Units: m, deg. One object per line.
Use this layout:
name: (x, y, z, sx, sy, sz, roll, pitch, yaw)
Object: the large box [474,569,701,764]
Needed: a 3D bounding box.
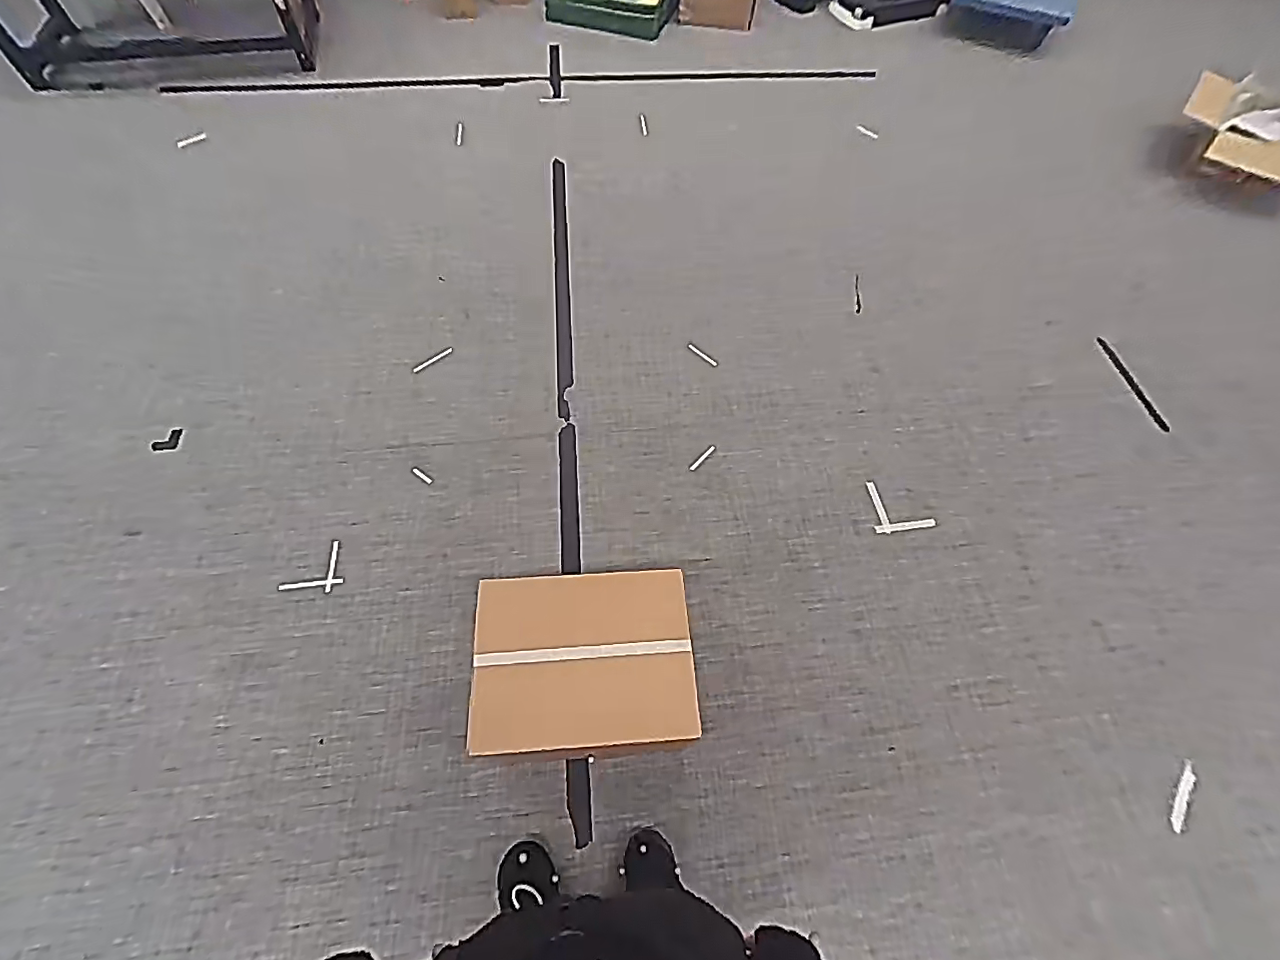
large box: (-0.107, 0.400, 1.139, 0.408, 0.320, 0.320, -3, 61, -4)
